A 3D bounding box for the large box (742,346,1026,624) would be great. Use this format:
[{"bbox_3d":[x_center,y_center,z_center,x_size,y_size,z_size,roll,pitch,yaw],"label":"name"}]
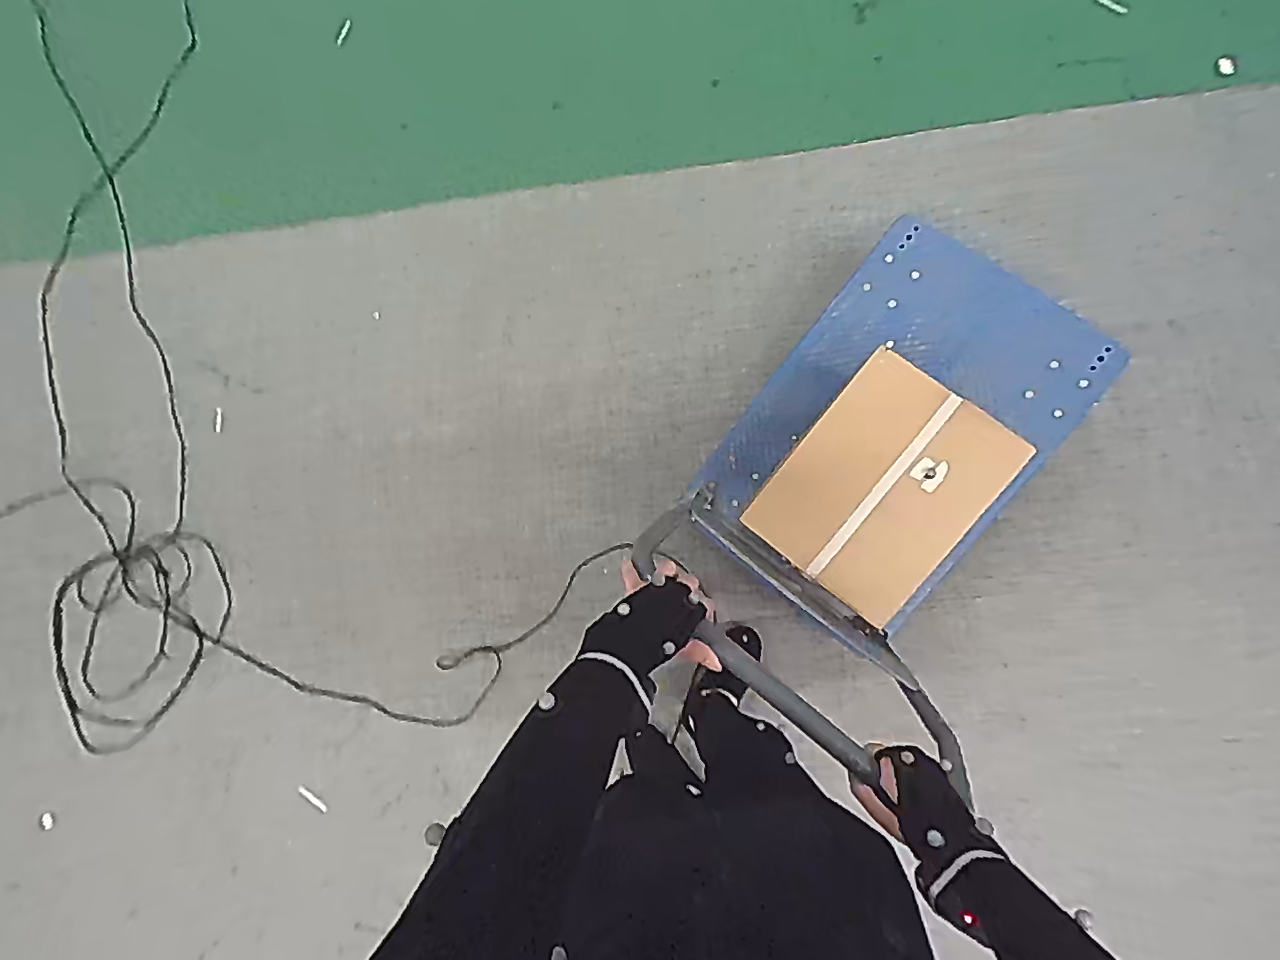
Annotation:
[{"bbox_3d":[0.447,0.015,1.098,0.320,0.320,0.408,38,95,9],"label":"large box"}]
